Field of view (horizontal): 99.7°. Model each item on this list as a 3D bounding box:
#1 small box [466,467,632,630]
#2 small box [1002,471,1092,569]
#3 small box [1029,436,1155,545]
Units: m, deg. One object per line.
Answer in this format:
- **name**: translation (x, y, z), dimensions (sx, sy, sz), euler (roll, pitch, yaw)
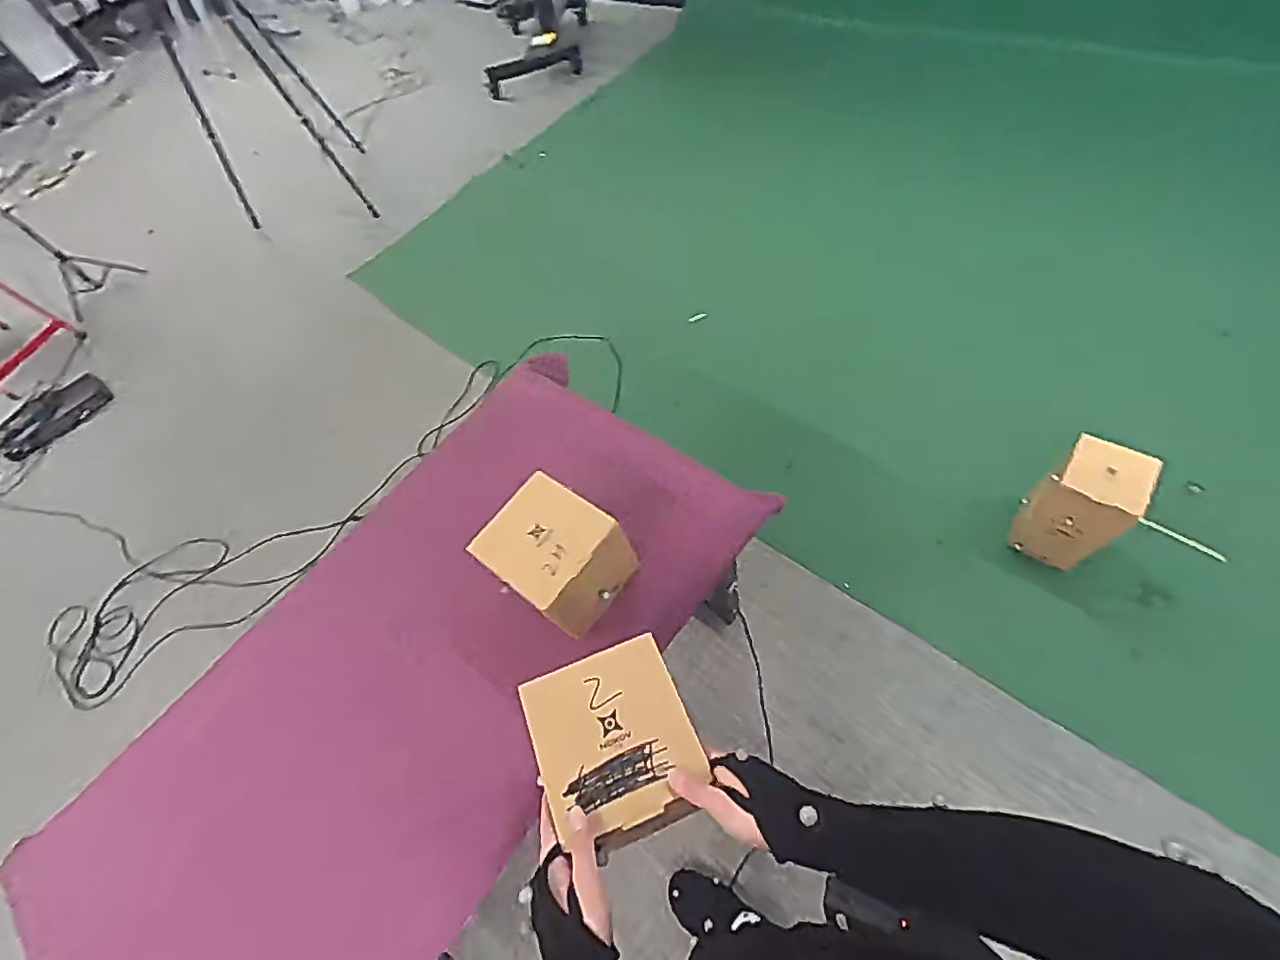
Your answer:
- **small box**: translation (-0.138, 0.116, 0.875), dimensions (0.179, 0.176, 0.168), euler (32, 71, 26)
- **small box**: translation (1.134, 0.114, 1.485), dimensions (0.168, 0.176, 0.179), euler (31, 69, 25)
- **small box**: translation (1.115, 0.029, 1.348), dimensions (0.168, 0.176, 0.179), euler (30, 70, 24)
